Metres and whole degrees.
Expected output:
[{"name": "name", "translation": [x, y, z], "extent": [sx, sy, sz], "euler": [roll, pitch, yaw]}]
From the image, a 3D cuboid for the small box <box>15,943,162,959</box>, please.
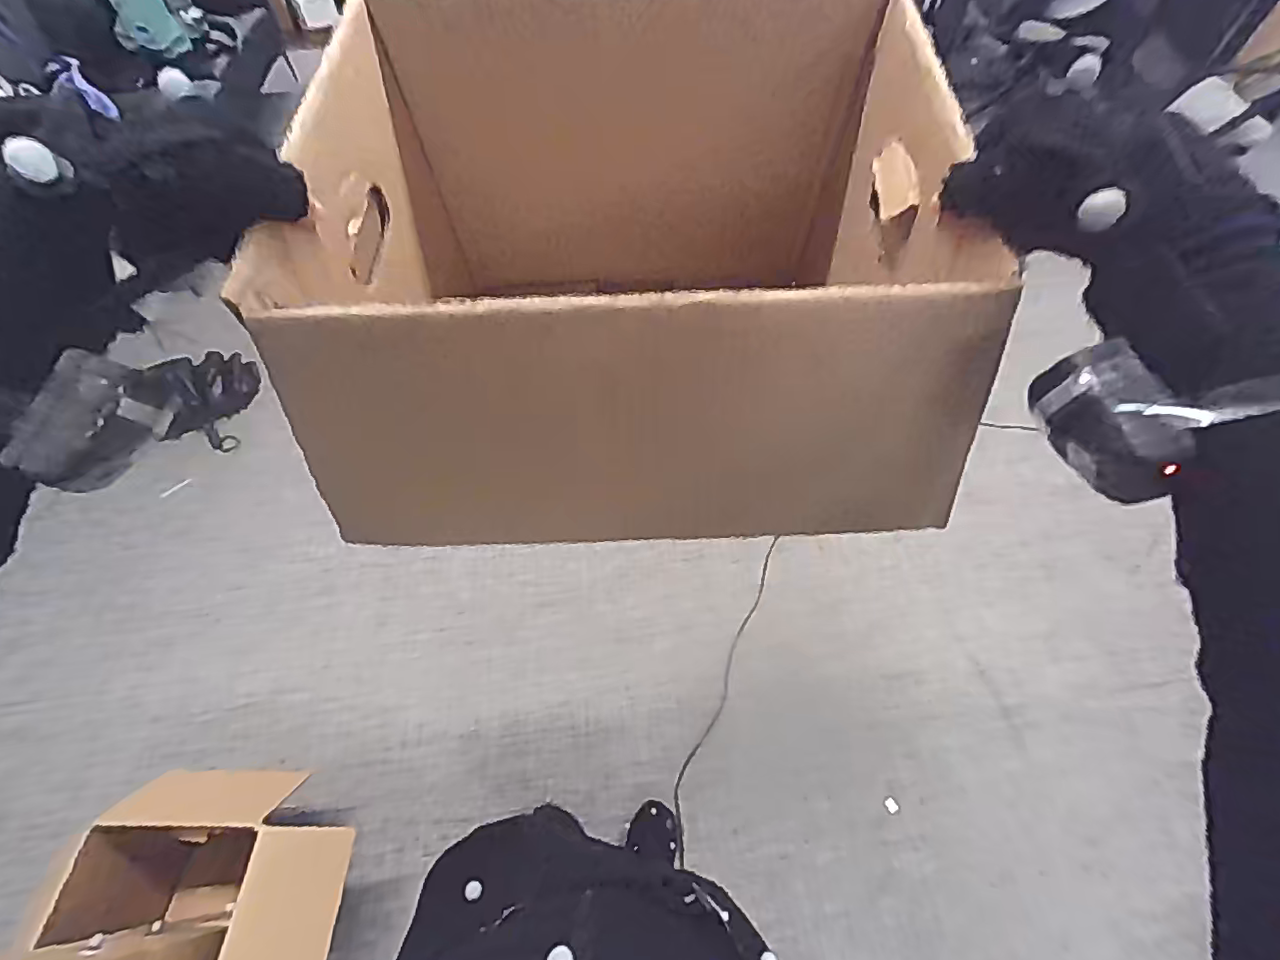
[{"name": "small box", "translation": [-0.791, 0.738, 0.705], "extent": [0.168, 0.176, 0.179], "euler": [-1, 59, -2]}]
